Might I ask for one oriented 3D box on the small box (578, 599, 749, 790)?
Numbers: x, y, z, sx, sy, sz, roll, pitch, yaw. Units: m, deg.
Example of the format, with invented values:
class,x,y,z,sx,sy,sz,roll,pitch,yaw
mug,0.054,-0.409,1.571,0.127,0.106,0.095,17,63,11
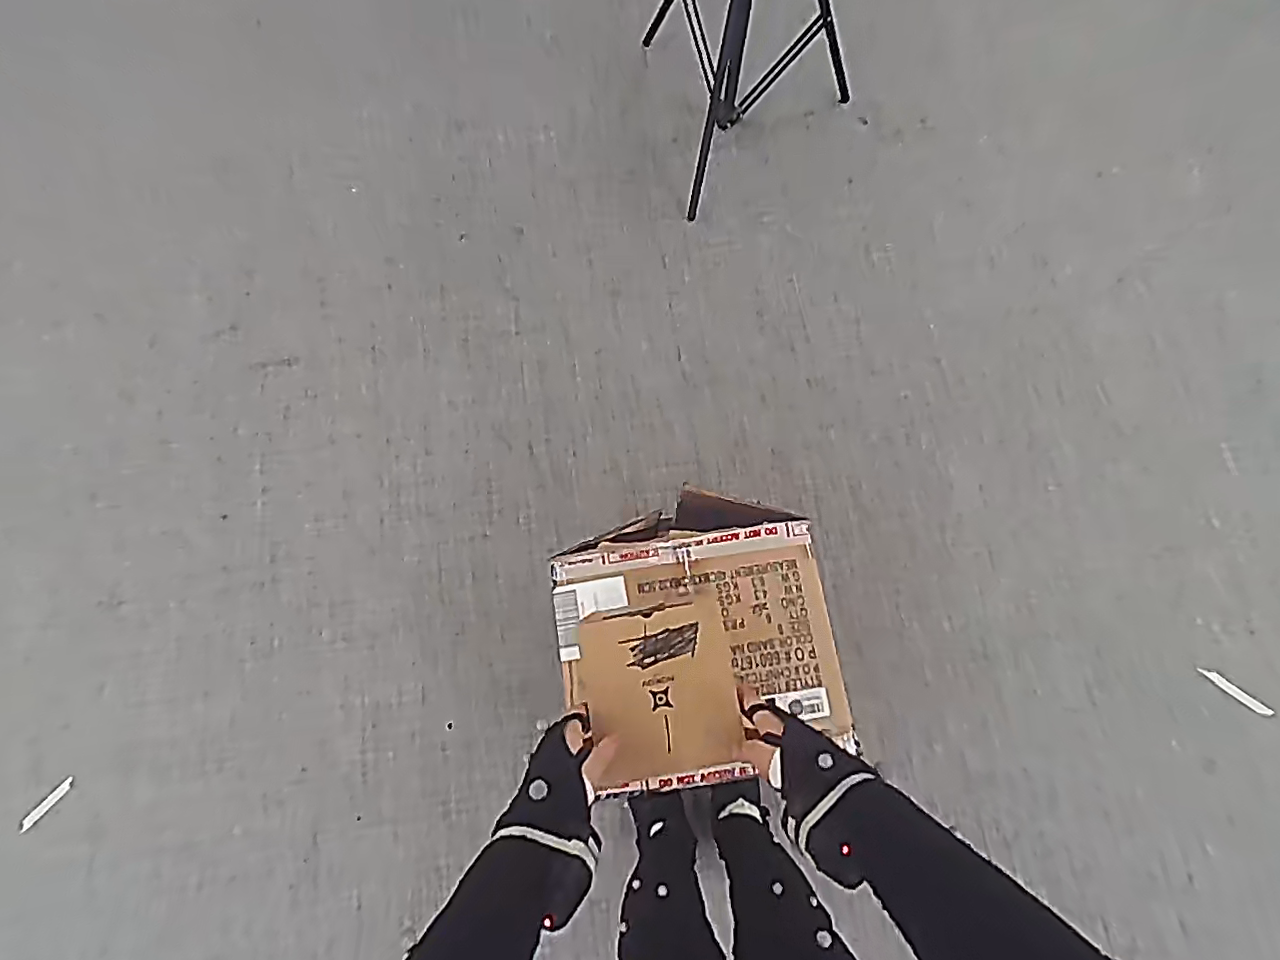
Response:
class,x,y,z,sx,sy,sz,roll,pitch,yaw
small box,0.024,0.245,0.666,0.168,0.176,0.179,-10,81,0
